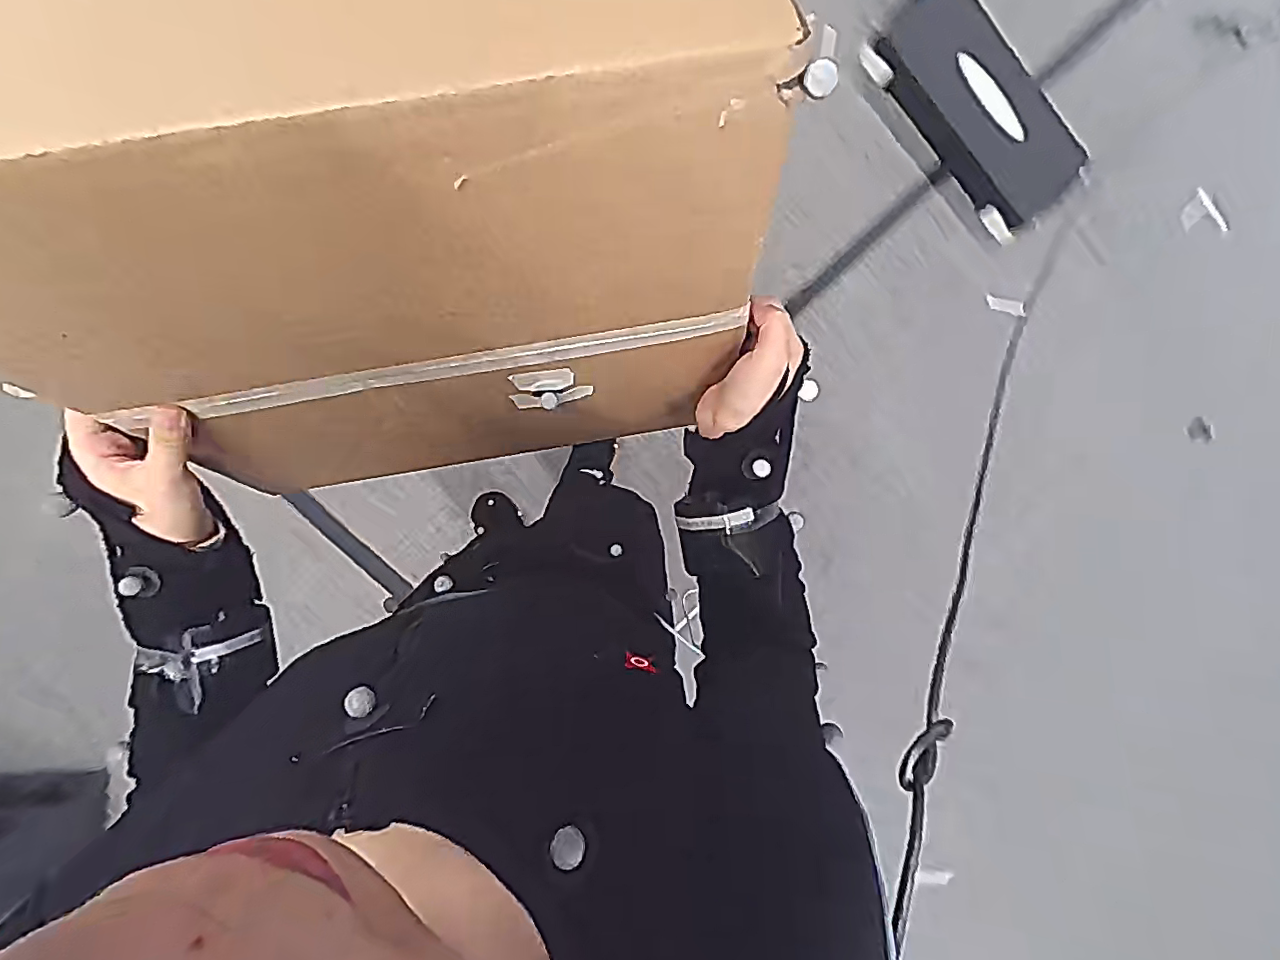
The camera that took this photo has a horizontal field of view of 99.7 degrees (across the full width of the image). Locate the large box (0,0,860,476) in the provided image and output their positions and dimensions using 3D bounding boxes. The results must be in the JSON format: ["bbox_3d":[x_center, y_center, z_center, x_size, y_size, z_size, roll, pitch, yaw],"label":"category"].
[{"bbox_3d":[-0.136,-0.226,0.366,0.408,0.320,0.320,-9,71,-1],"label":"large box"}]
